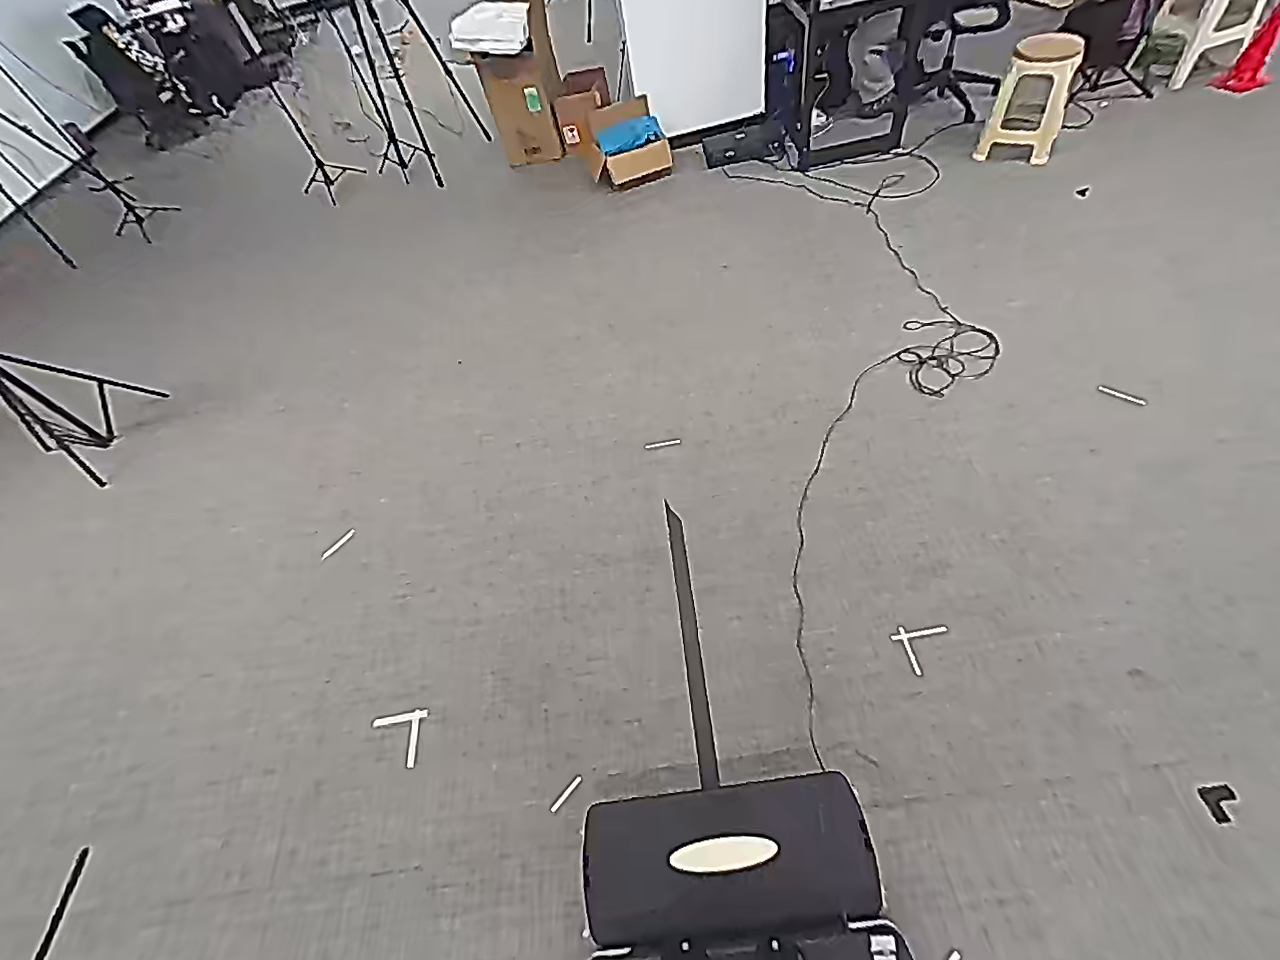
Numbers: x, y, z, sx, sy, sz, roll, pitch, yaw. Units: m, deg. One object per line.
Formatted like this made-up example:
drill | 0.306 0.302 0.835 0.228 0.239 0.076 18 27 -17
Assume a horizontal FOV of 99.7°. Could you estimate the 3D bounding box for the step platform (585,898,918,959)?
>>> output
step platform | 0.224 1.056 1.083 0.684 0.204 0.286 -12 52 5
